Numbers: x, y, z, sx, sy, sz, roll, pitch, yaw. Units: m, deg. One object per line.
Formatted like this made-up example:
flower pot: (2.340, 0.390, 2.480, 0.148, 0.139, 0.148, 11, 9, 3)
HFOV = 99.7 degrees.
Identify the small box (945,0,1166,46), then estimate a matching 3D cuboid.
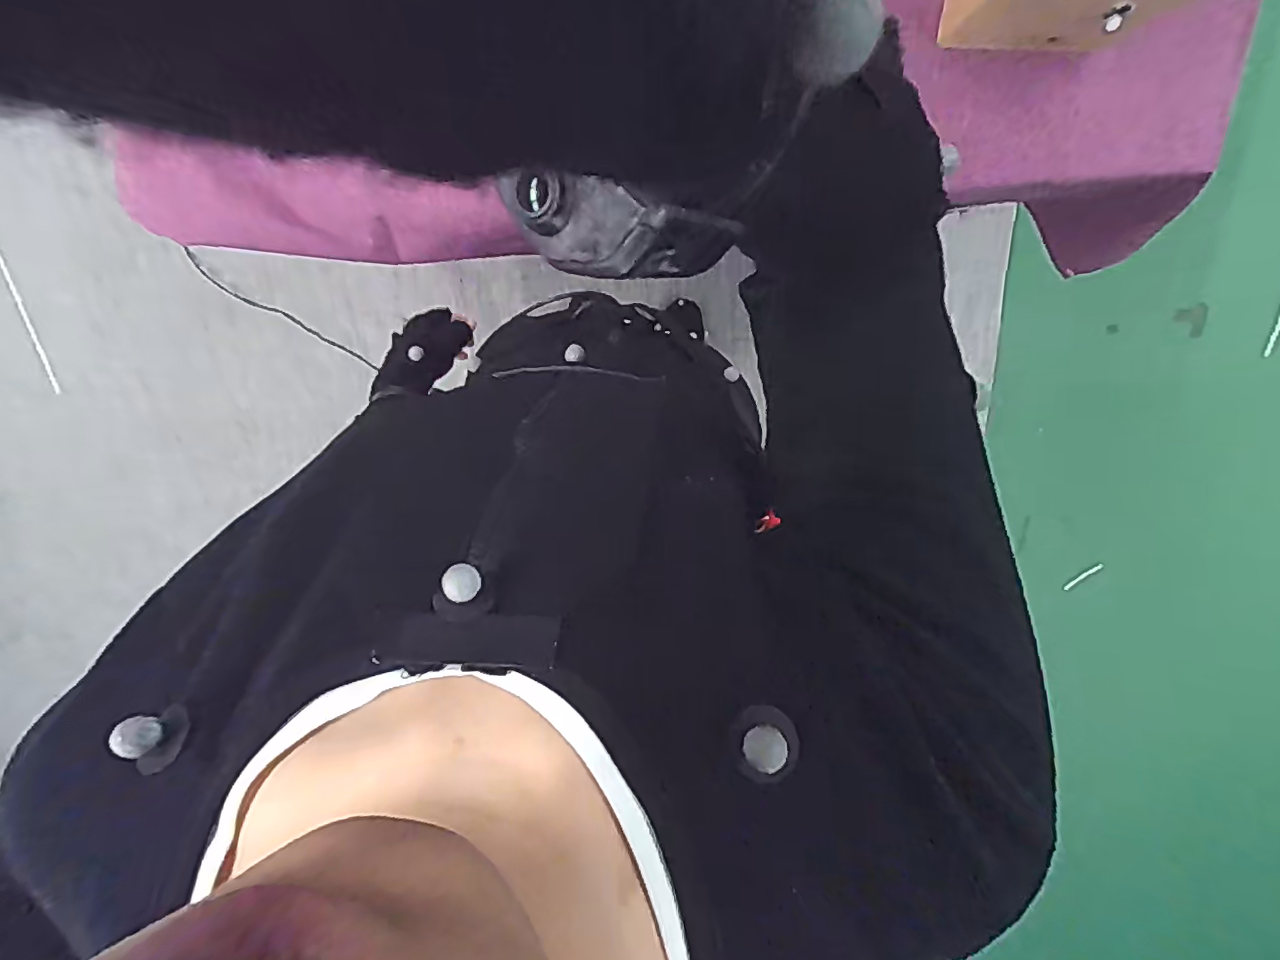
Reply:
small box: (0.387, -0.500, 0.453, 0.168, 0.176, 0.179, 4, 110, 1)
